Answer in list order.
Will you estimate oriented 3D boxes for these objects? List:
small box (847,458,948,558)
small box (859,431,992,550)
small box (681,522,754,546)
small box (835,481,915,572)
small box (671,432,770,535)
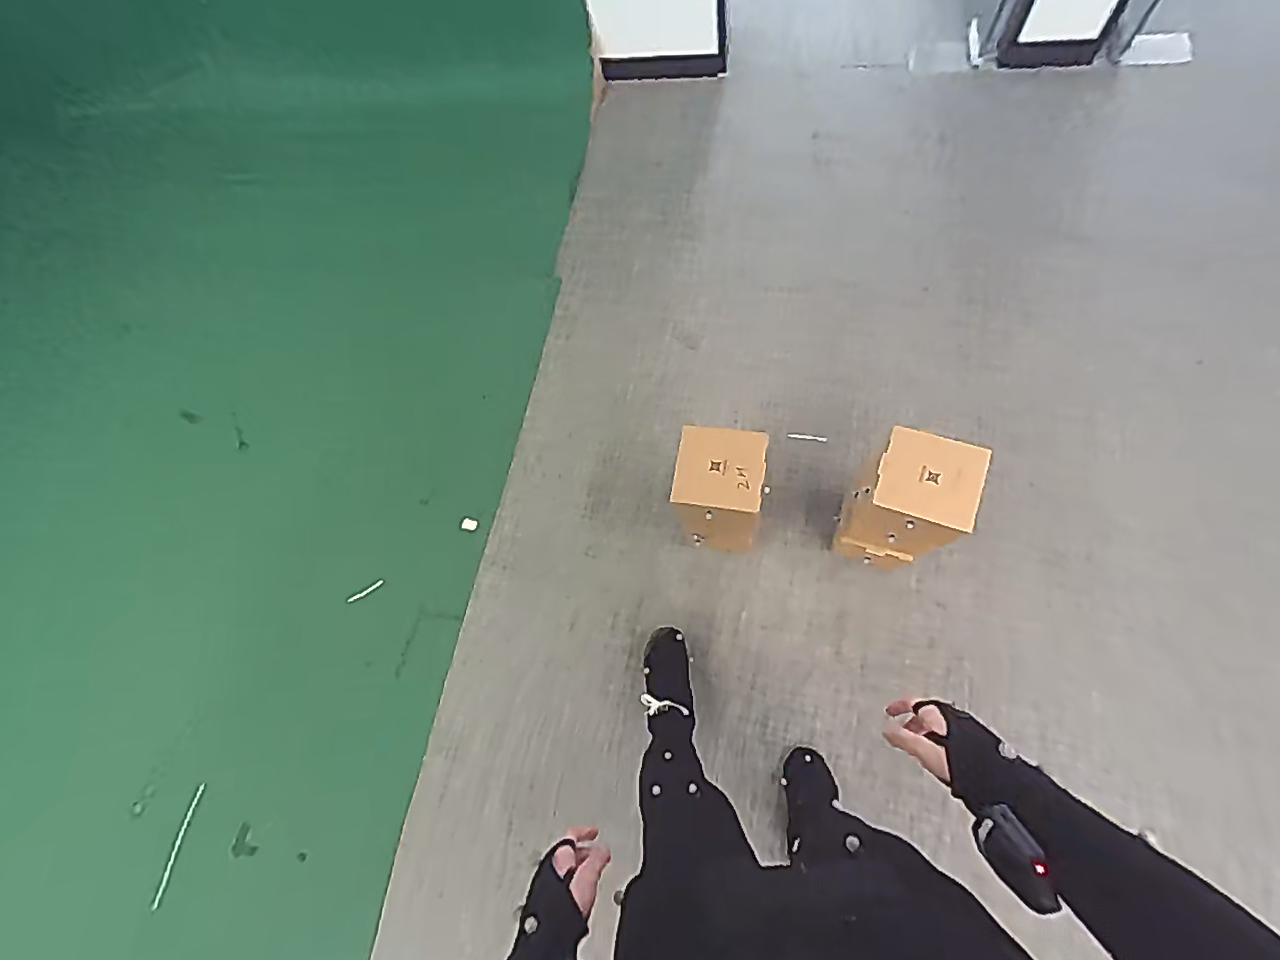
[{"bbox_3d":[0.587,0.069,1.220,0.179,0.176,0.168,14,75,15],"label":"small box"},{"bbox_3d":[0.550,0.028,1.067,0.179,0.176,0.168,18,77,16],"label":"small box"},{"bbox_3d":[0.198,0.052,1.298,0.168,0.176,0.179,6,72,12],"label":"small box"},{"bbox_3d":[0.604,0.125,1.372,0.168,0.176,0.179,16,77,14],"label":"small box"},{"bbox_3d":[0.173,0.013,1.140,0.179,0.176,0.168,7,74,12],"label":"small box"}]
